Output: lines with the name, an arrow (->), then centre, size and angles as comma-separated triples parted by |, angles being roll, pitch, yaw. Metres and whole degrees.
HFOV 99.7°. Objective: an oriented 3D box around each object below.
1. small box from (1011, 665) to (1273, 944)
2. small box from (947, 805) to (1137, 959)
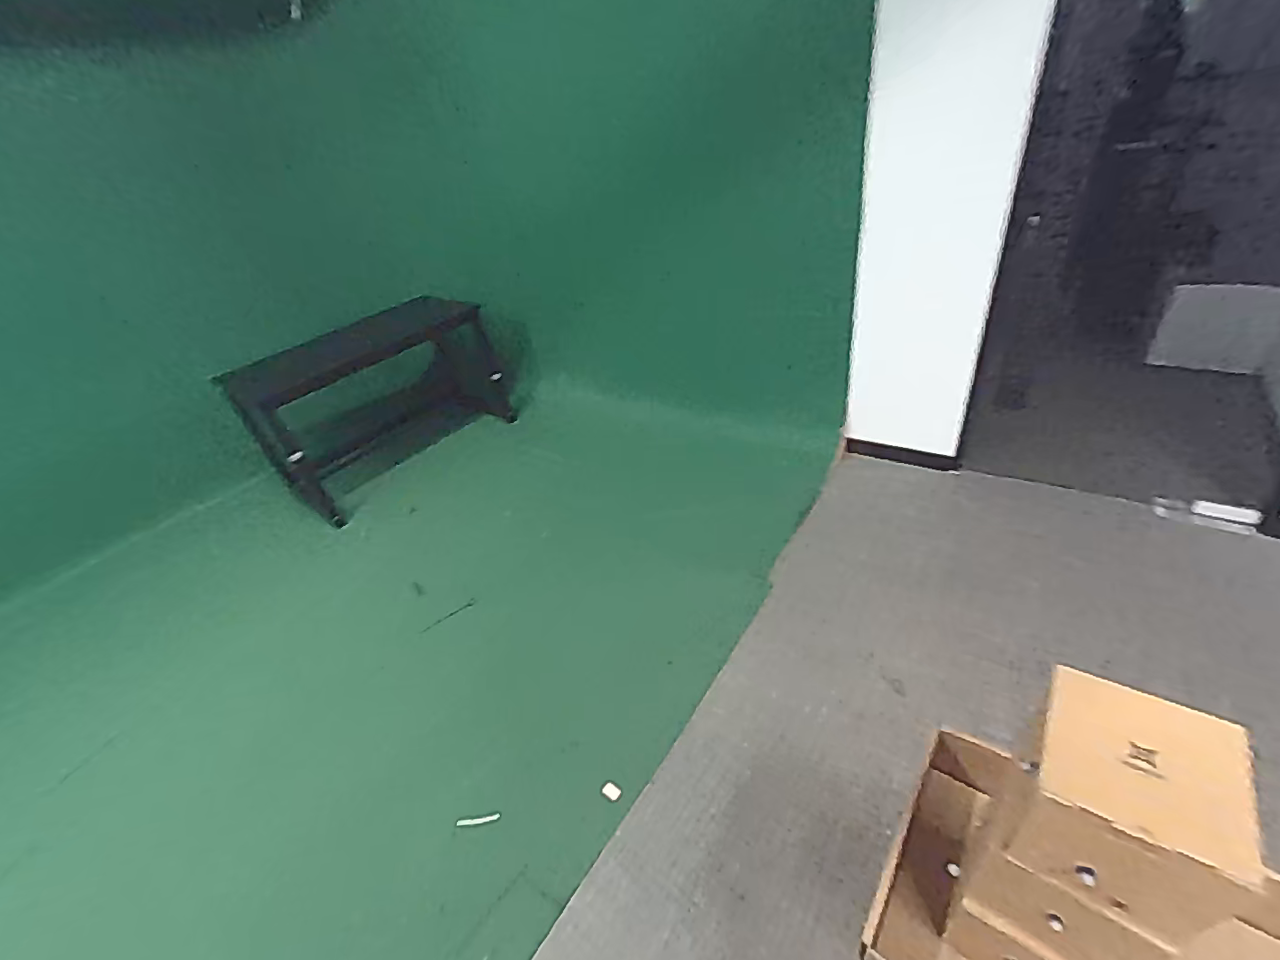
small box -> 0.537, 0.352, 0.602 | 0.168, 0.176, 0.179 | 16, 43, 34
small box -> 0.572, 0.625, 0.779 | 0.179, 0.176, 0.168 | 19, 45, 35
